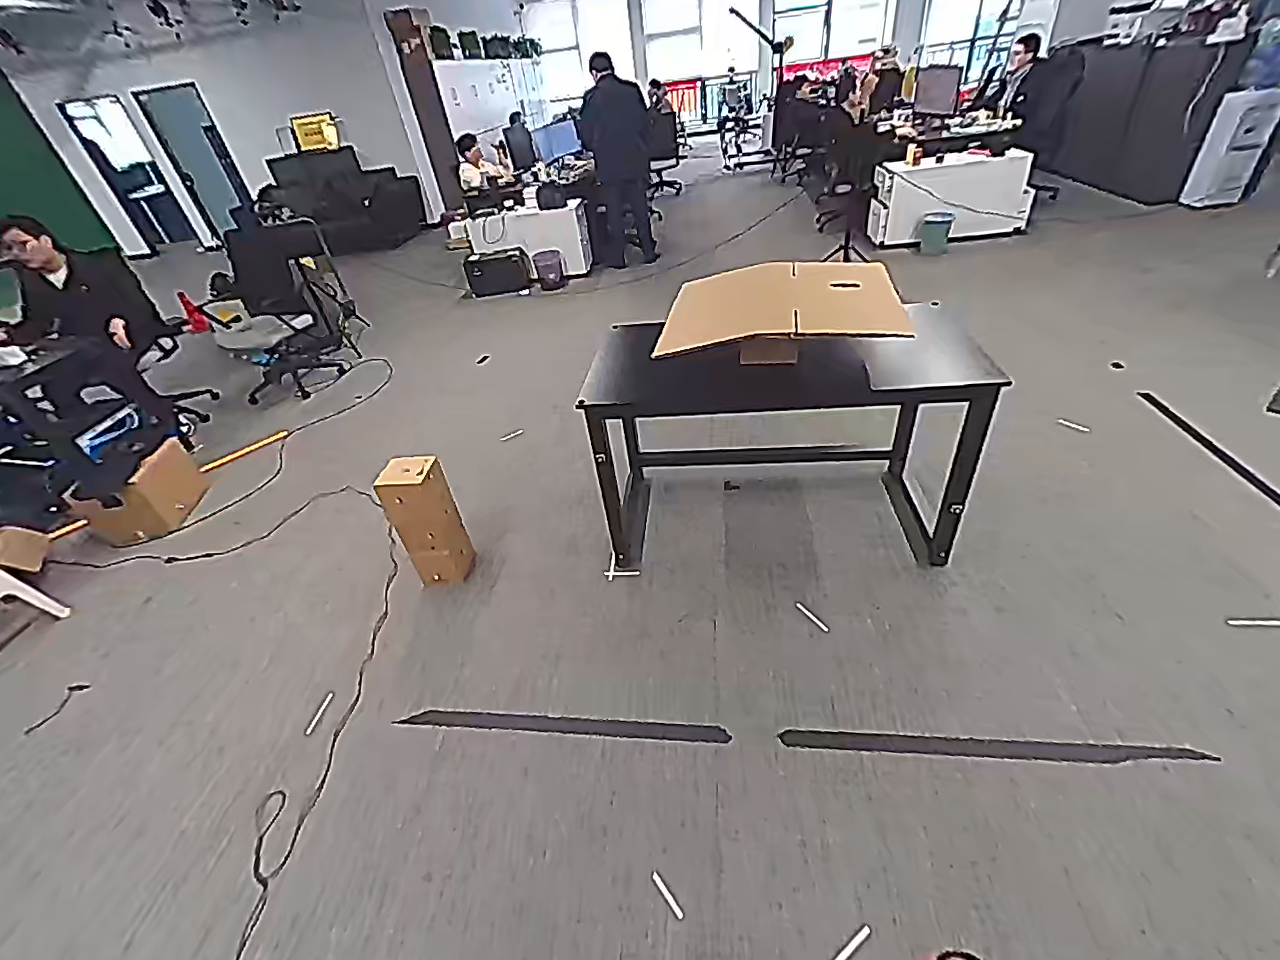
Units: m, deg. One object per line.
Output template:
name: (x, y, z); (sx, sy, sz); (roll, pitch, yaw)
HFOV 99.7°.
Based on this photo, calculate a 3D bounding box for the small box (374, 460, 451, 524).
small box: (-0.816, 0.046, 1.957); (0.179, 0.176, 0.168); (-4, 37, 6)

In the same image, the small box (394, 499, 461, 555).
small box: (-0.801, 0.174, 2.058); (0.168, 0.176, 0.179); (-5, 36, 2)

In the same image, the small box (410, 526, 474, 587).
small box: (-0.778, 0.305, 2.151); (0.168, 0.176, 0.179); (-4, 38, 6)
